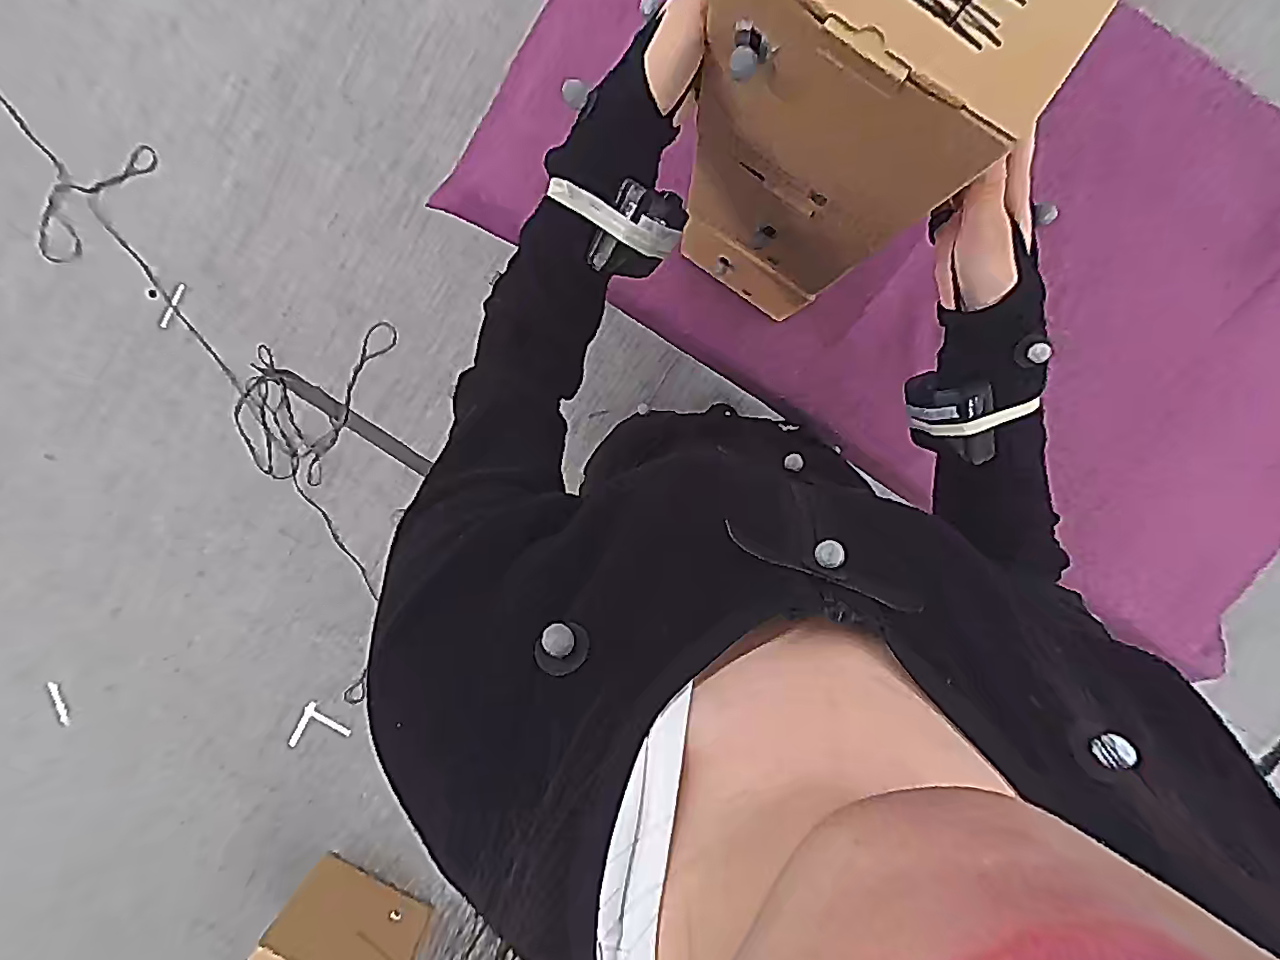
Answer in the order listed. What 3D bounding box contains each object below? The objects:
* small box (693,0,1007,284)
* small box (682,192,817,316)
[{"bbox_3d":[0.160,-0.303,0.482,0.168,0.176,0.179,32,98,-3],"label":"small box"},{"bbox_3d":[0.164,-0.320,0.645,0.168,0.176,0.179,34,97,-3],"label":"small box"}]
